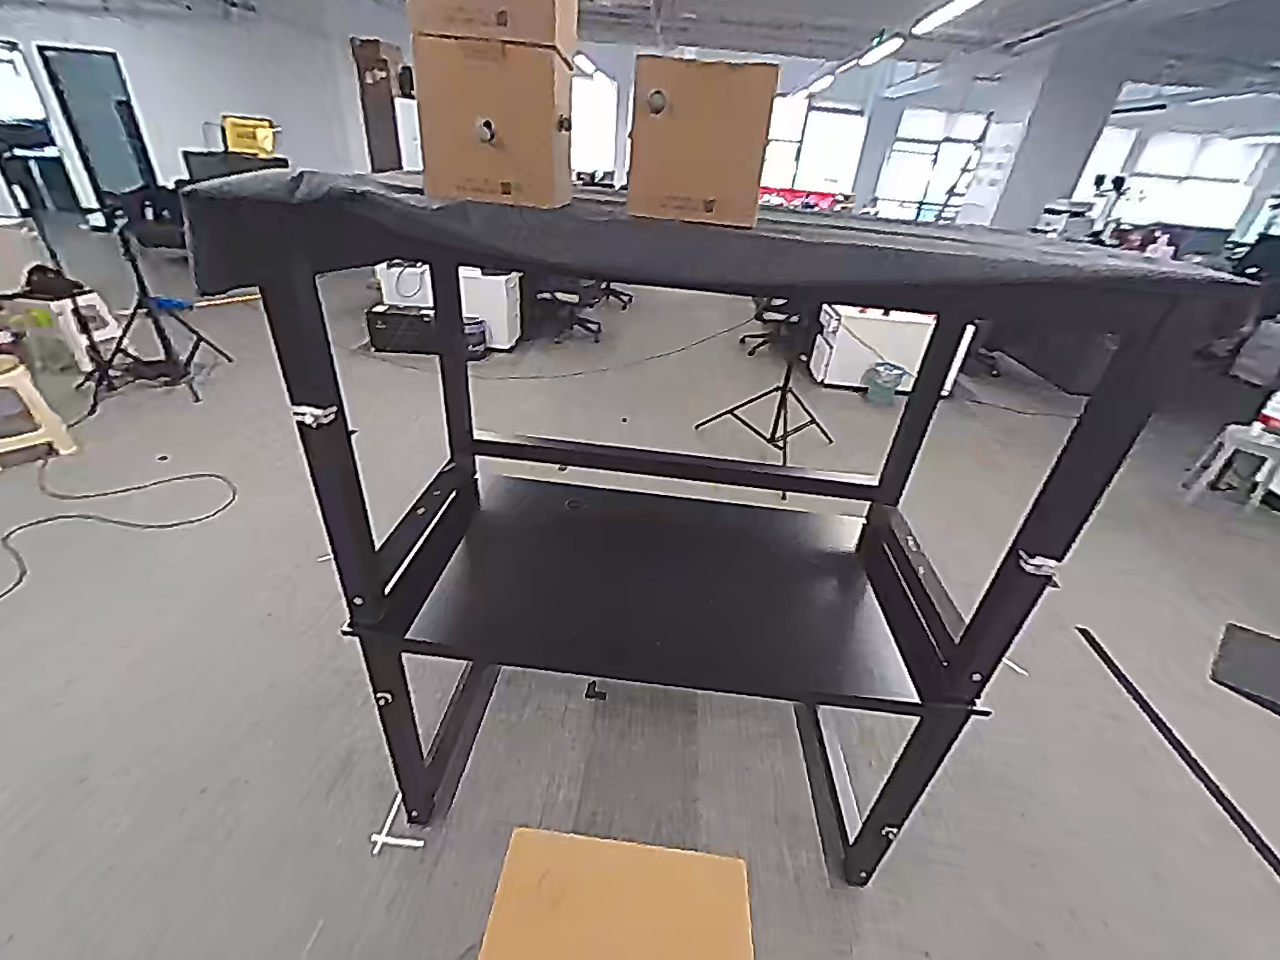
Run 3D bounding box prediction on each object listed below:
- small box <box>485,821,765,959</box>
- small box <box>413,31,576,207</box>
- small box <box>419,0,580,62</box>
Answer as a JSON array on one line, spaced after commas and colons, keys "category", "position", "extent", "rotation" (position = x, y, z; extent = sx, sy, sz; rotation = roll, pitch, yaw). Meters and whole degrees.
[{"category": "small box", "position": [-0.018, 0.358, 0.335], "extent": [0.168, 0.176, 0.179], "rotation": [8, 28, 0]}, {"category": "small box", "position": [-0.177, -0.464, 0.715], "extent": [0.168, 0.176, 0.179], "rotation": [5, 30, -2]}, {"category": "small box", "position": [-0.161, -0.608, 0.635], "extent": [0.168, 0.176, 0.179], "rotation": [4, 30, -1]}]
